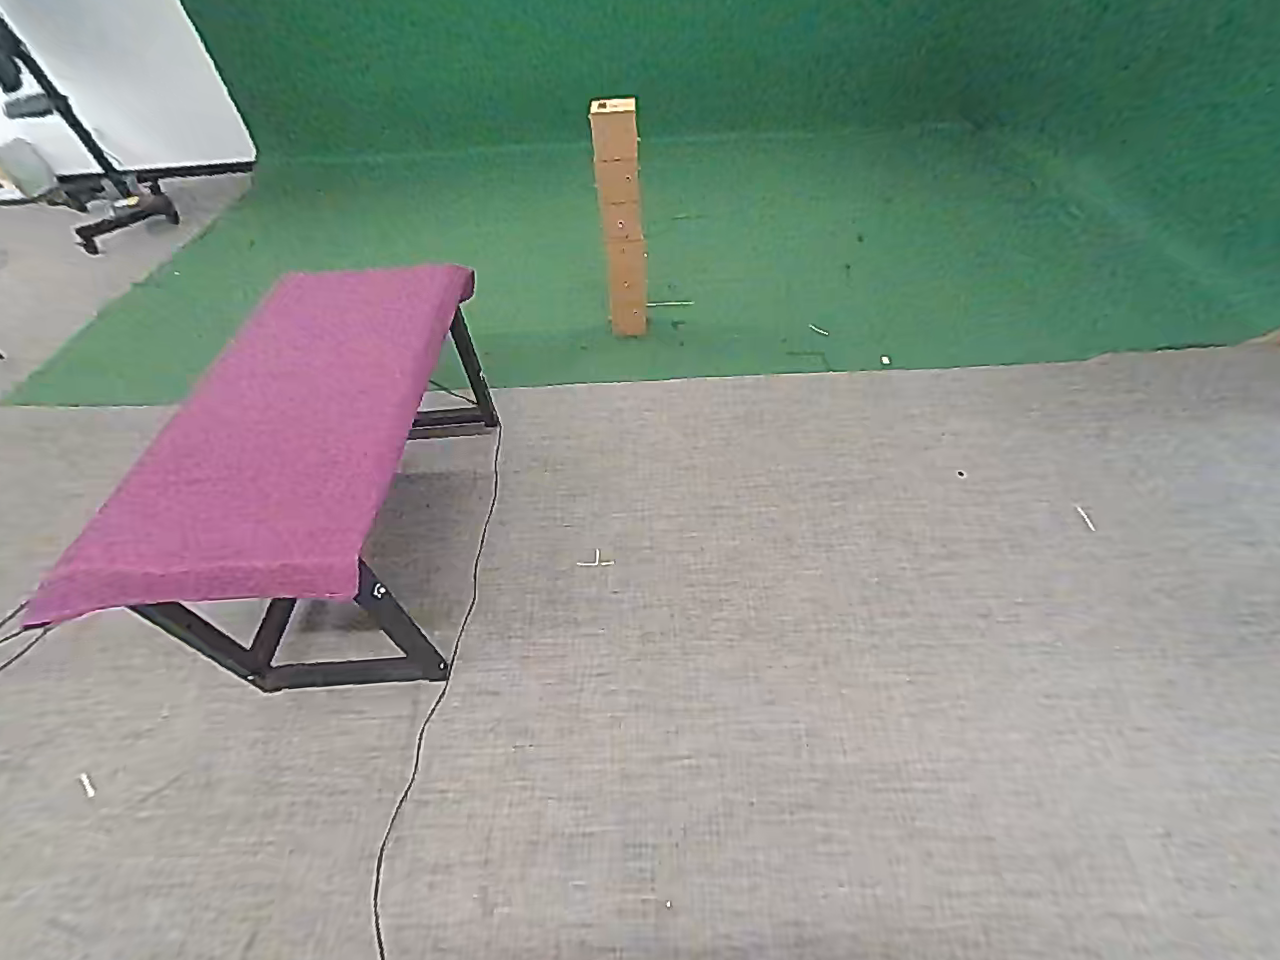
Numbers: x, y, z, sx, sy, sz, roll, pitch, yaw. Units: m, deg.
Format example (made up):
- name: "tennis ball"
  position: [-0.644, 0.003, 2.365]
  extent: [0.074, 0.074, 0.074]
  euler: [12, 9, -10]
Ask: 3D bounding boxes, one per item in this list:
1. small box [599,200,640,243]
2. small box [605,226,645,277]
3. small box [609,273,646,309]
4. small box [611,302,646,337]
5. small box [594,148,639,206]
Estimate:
- name: "small box"
  position: [-0.090, -1.180, 2.424]
  extent: [0.168, 0.176, 0.179]
  euler: [-5, 50, 1]
- name: "small box"
  position: [-0.072, -1.073, 2.546]
  extent: [0.179, 0.176, 0.168]
  euler: [-6, 50, -1]
- name: "small box"
  position: [-0.059, -0.965, 2.669]
  extent: [0.179, 0.176, 0.168]
  euler: [-5, 49, 1]
- name: "small box"
  position: [-0.055, -0.857, 2.789]
  extent: [0.179, 0.176, 0.168]
  euler: [-3, 49, 3]
- name: "small box"
  position: [-0.097, -1.289, 2.302]
  extent: [0.179, 0.176, 0.168]
  euler: [-5, 48, 2]
